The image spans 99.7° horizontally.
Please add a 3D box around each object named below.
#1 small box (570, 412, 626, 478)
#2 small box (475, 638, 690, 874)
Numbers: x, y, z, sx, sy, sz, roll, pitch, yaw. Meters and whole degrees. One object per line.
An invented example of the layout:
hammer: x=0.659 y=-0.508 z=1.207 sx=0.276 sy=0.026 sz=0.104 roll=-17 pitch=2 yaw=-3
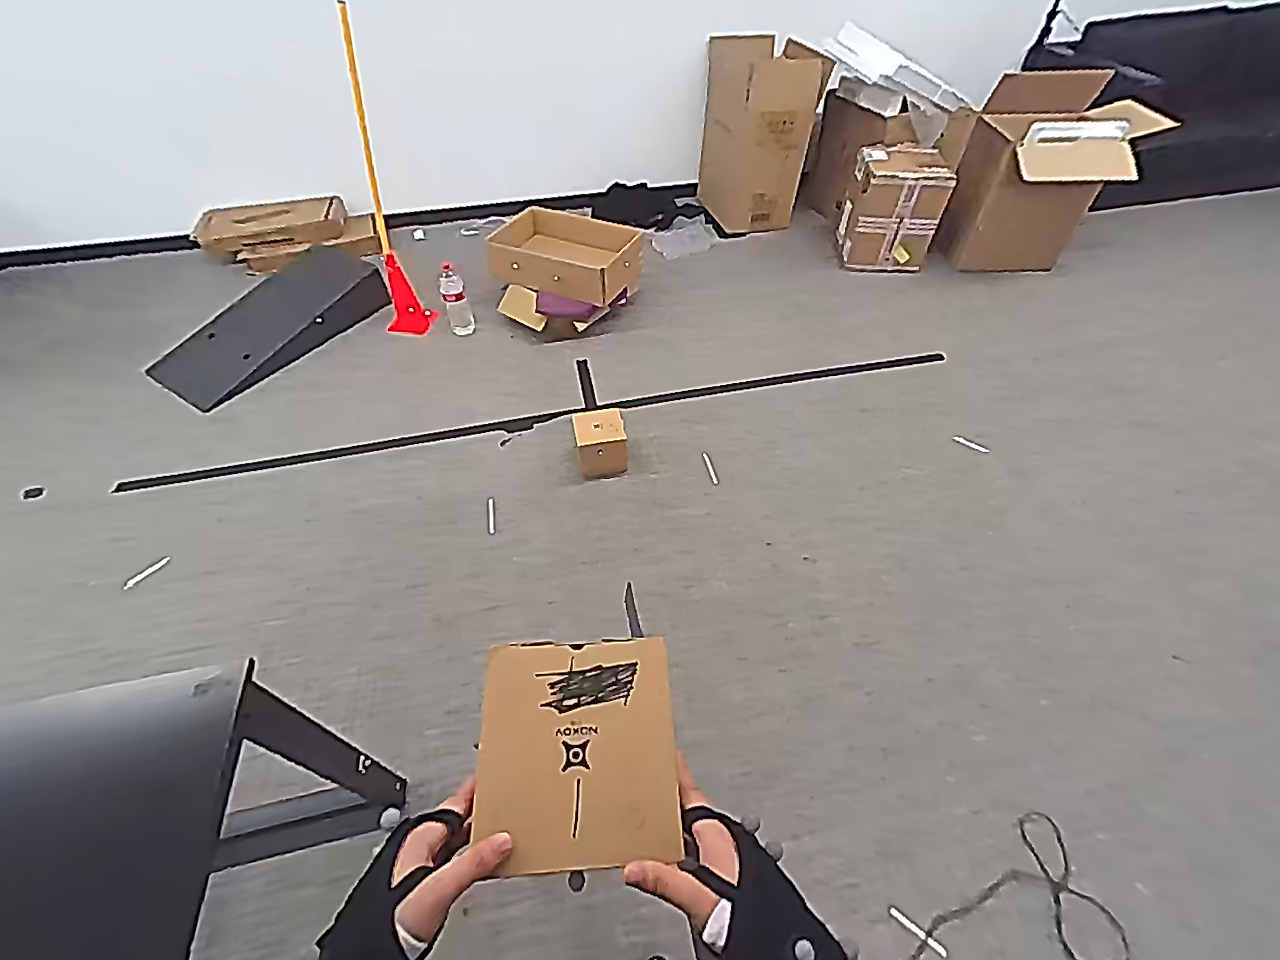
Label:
small box: x=-0.152 y=-0.123 z=1.975 sx=0.179 sy=0.176 sz=0.168 roll=-9 pitch=51 yaw=-8
small box: x=-0.051 y=0.266 z=0.520 sx=0.168 sy=0.176 sz=0.179 roll=-1 pitch=56 yaw=-4
